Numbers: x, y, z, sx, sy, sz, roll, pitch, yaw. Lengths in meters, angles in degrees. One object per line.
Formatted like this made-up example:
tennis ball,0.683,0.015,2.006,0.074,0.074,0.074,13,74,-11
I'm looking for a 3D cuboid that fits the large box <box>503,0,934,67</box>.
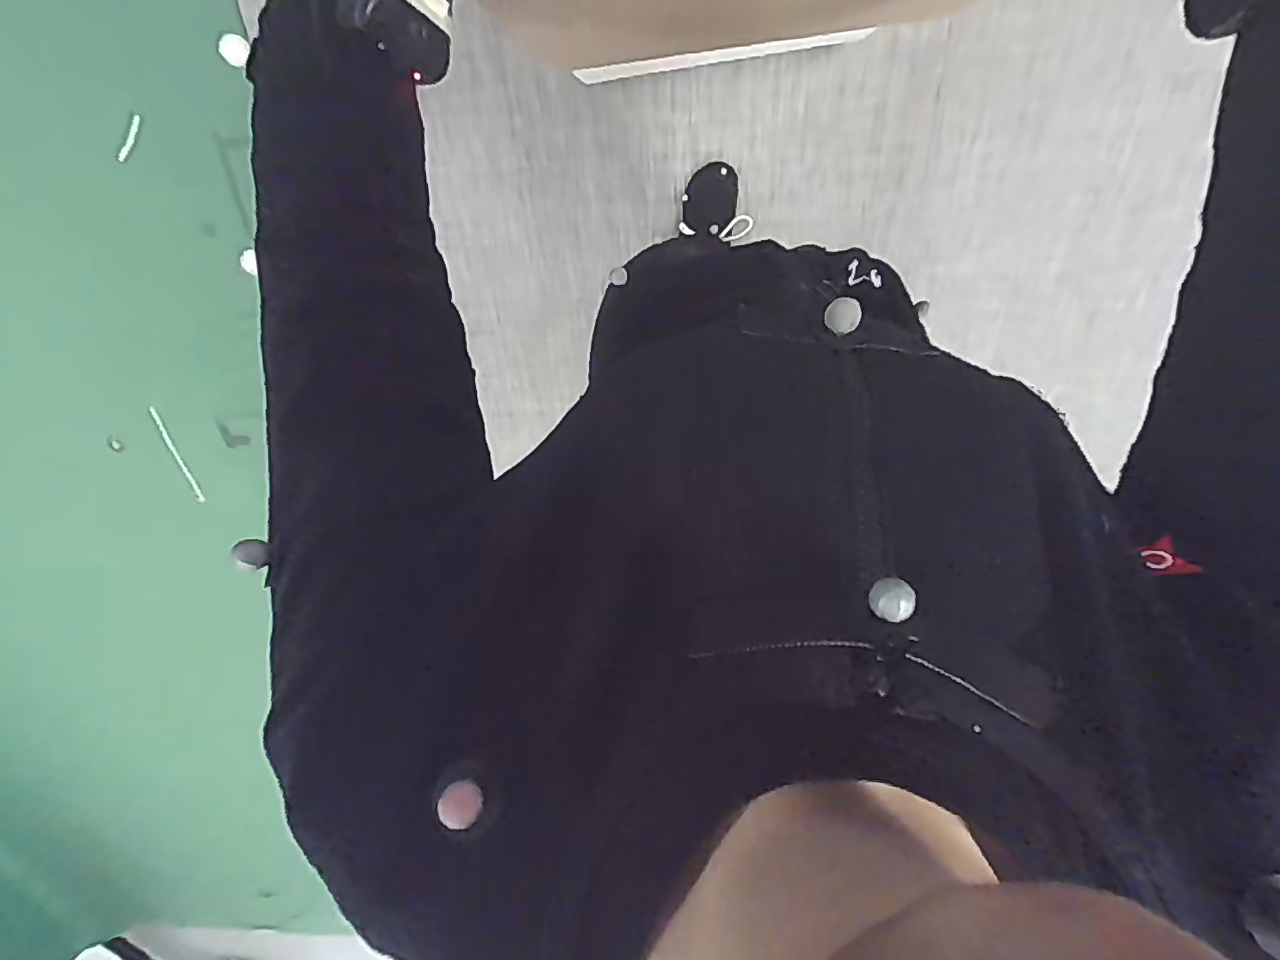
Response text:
large box,0.084,-0.510,0.346,0.408,0.320,0.320,-5,120,6
